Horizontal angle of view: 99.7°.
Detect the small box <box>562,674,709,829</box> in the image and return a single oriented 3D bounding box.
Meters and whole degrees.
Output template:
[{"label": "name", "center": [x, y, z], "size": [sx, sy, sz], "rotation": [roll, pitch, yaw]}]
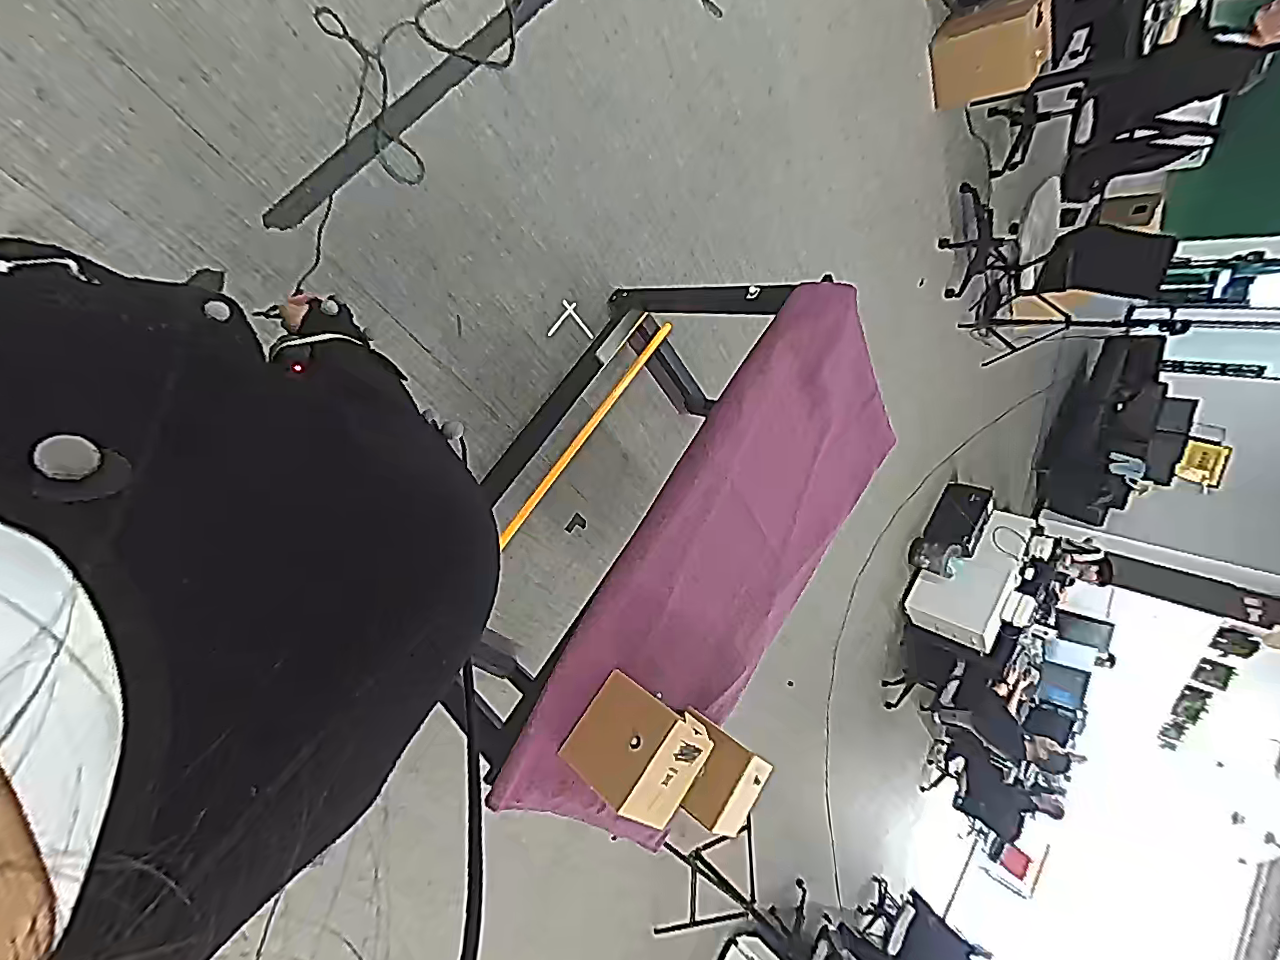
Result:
[{"label": "small box", "center": [-0.009, 0.487, 0.987], "size": [0.179, 0.176, 0.168], "rotation": [-53, 134, -17]}]
